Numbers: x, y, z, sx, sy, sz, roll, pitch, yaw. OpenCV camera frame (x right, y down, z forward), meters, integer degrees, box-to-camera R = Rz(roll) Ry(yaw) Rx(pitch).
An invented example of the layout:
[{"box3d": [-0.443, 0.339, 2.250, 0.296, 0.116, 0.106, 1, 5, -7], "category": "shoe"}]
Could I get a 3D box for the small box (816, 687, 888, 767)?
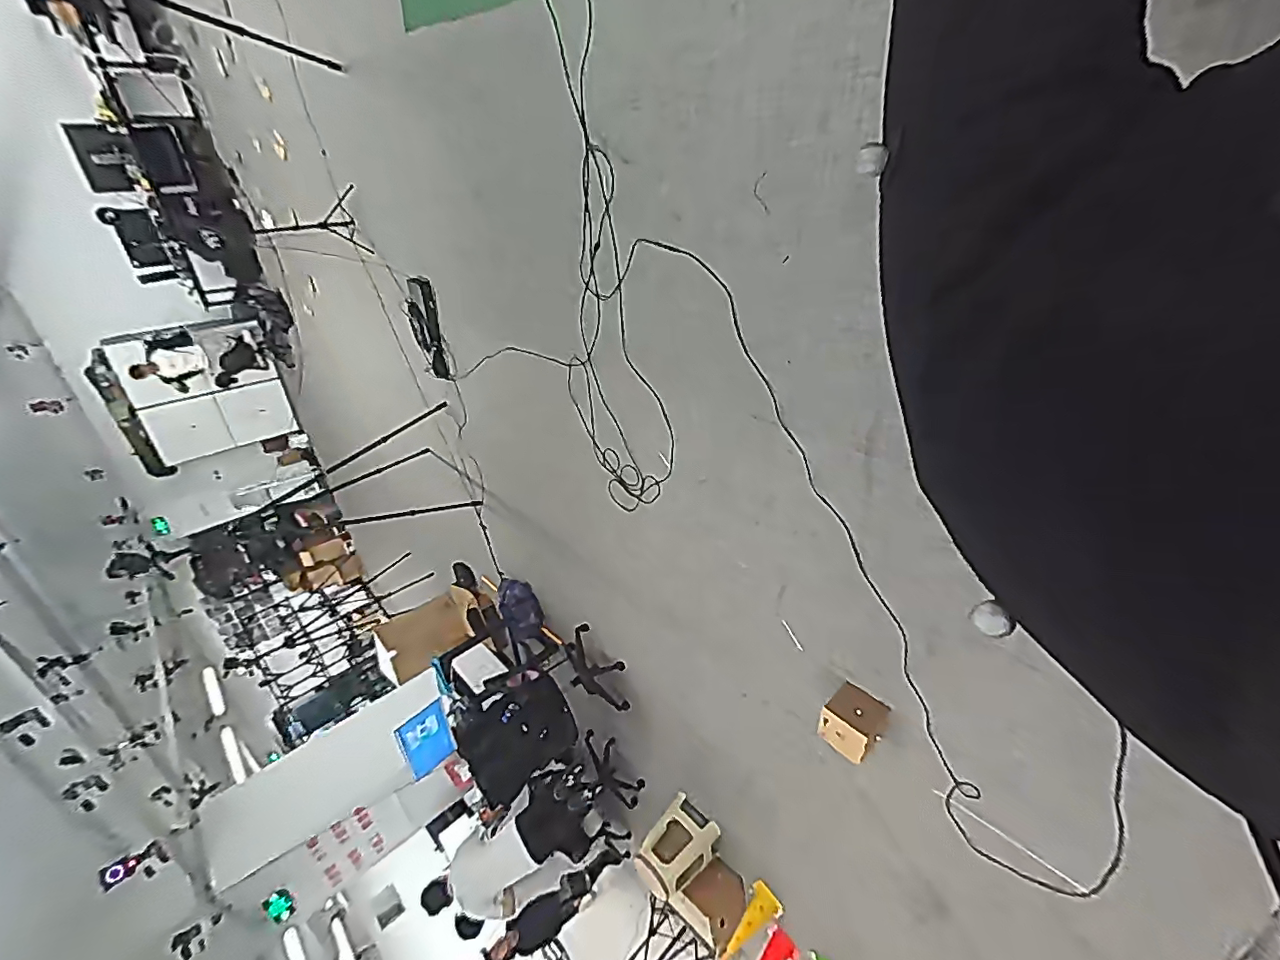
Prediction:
[{"box3d": [0.780, 0.899, 1.986, 0.179, 0.176, 0.168, 28, 131, 39], "category": "small box"}]
